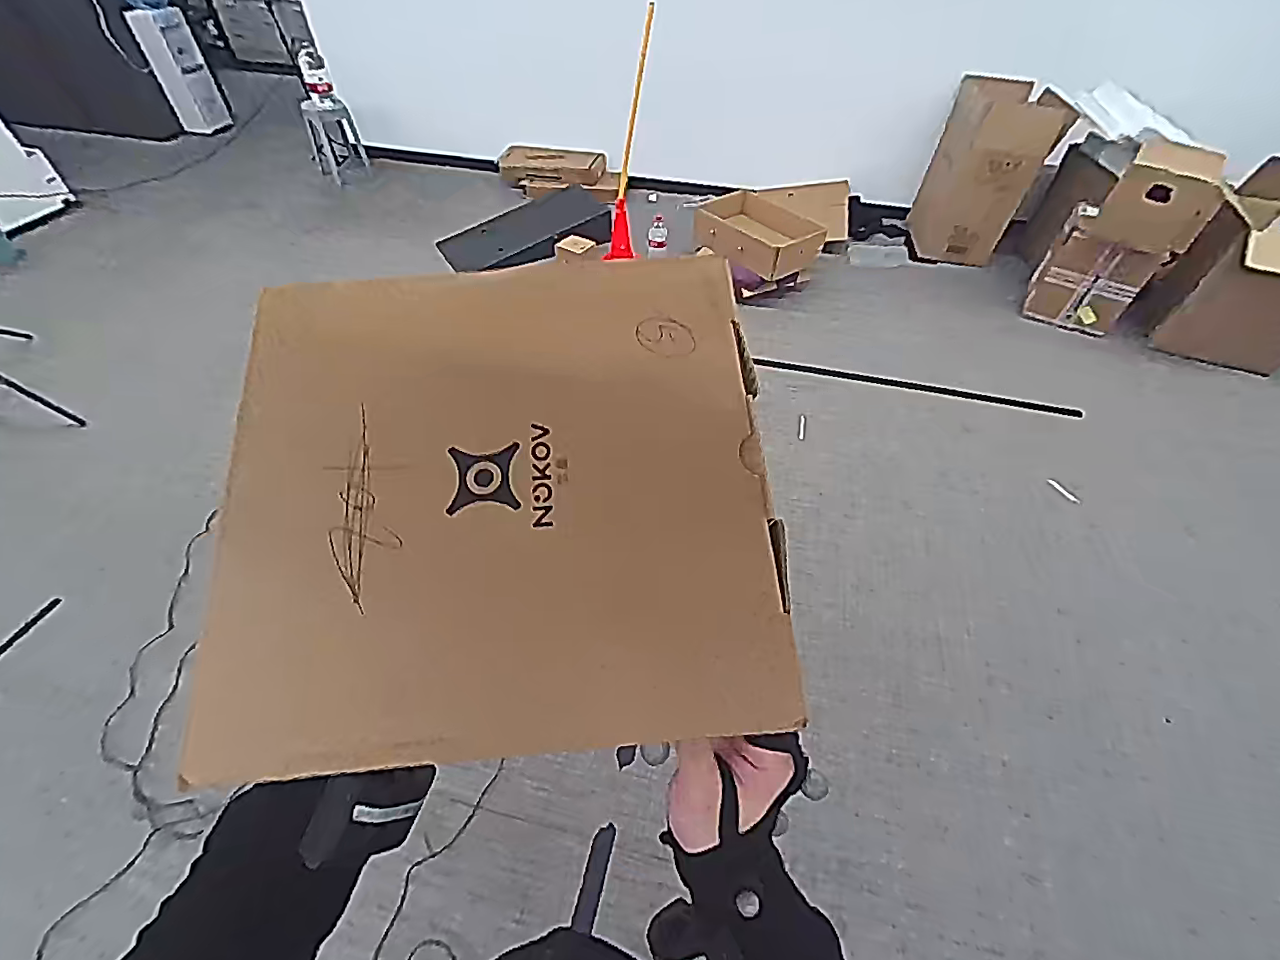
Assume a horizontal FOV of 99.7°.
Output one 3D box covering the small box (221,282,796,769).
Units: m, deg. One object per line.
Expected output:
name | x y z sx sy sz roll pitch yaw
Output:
small box | -0.044 0.030 0.263 0.179 0.176 0.168 -4 70 -1
